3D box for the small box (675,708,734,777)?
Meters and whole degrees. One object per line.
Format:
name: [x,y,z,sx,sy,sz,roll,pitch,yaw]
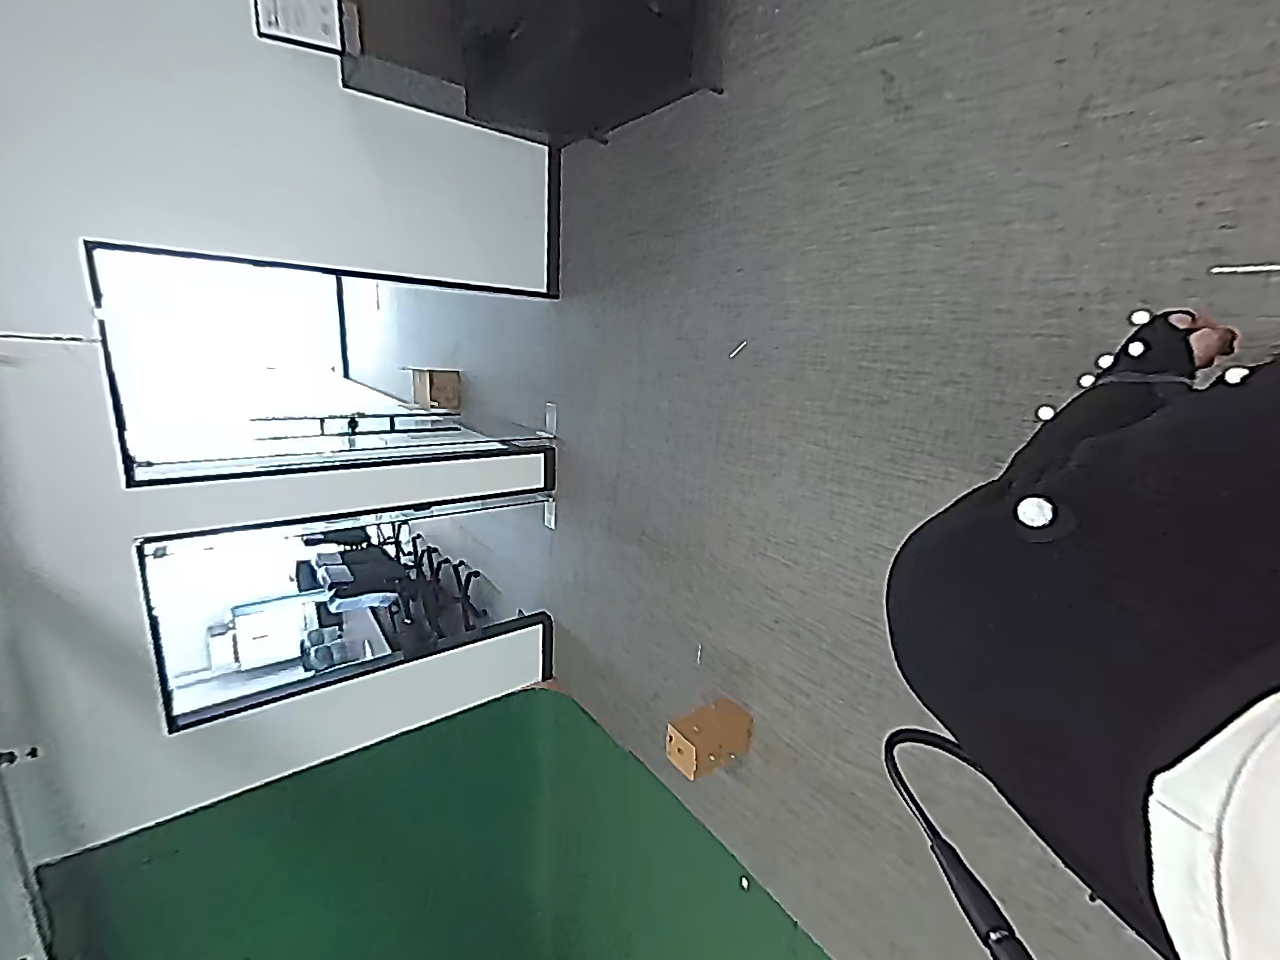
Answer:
small box: [0.272,1.094,2.271,0.179,0.176,0.168,21,112,50]
